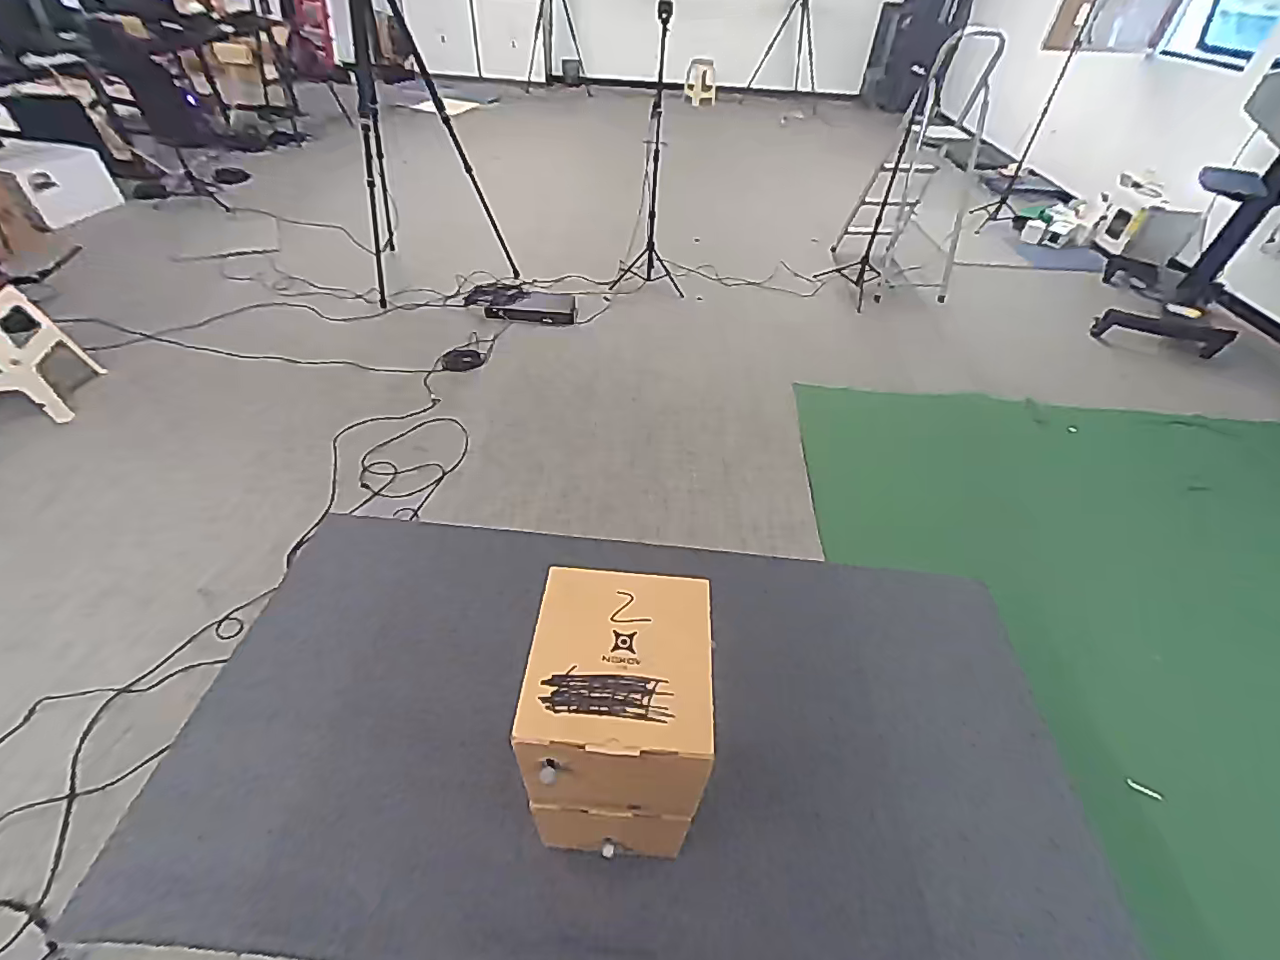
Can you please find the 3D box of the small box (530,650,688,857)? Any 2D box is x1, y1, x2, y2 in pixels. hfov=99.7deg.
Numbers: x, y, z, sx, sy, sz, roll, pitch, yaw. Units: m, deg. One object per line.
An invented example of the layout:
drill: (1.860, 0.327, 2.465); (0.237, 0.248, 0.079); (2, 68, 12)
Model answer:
small box: (-0.033, 0.335, 0.665); (0.168, 0.176, 0.179); (4, 44, 0)
